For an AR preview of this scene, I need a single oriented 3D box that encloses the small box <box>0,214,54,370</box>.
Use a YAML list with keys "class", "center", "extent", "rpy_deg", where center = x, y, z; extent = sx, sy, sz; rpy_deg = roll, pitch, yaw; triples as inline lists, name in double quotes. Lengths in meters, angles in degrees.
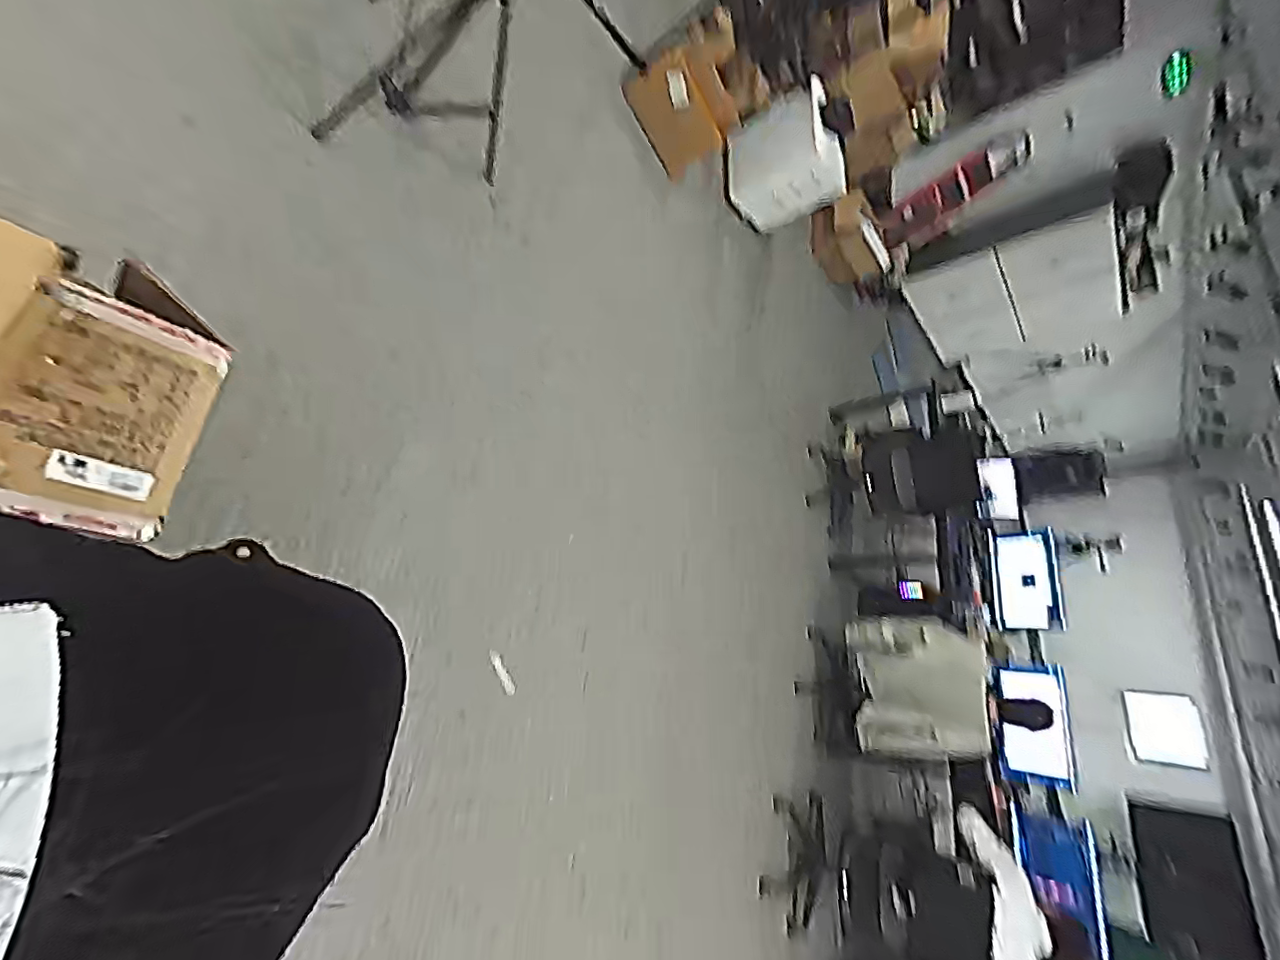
- class: "small box"
  center: [-0.821, -0.224, 0.612]
  extent: [0.168, 0.176, 0.179]
  rpy_deg: [27, 64, -41]
